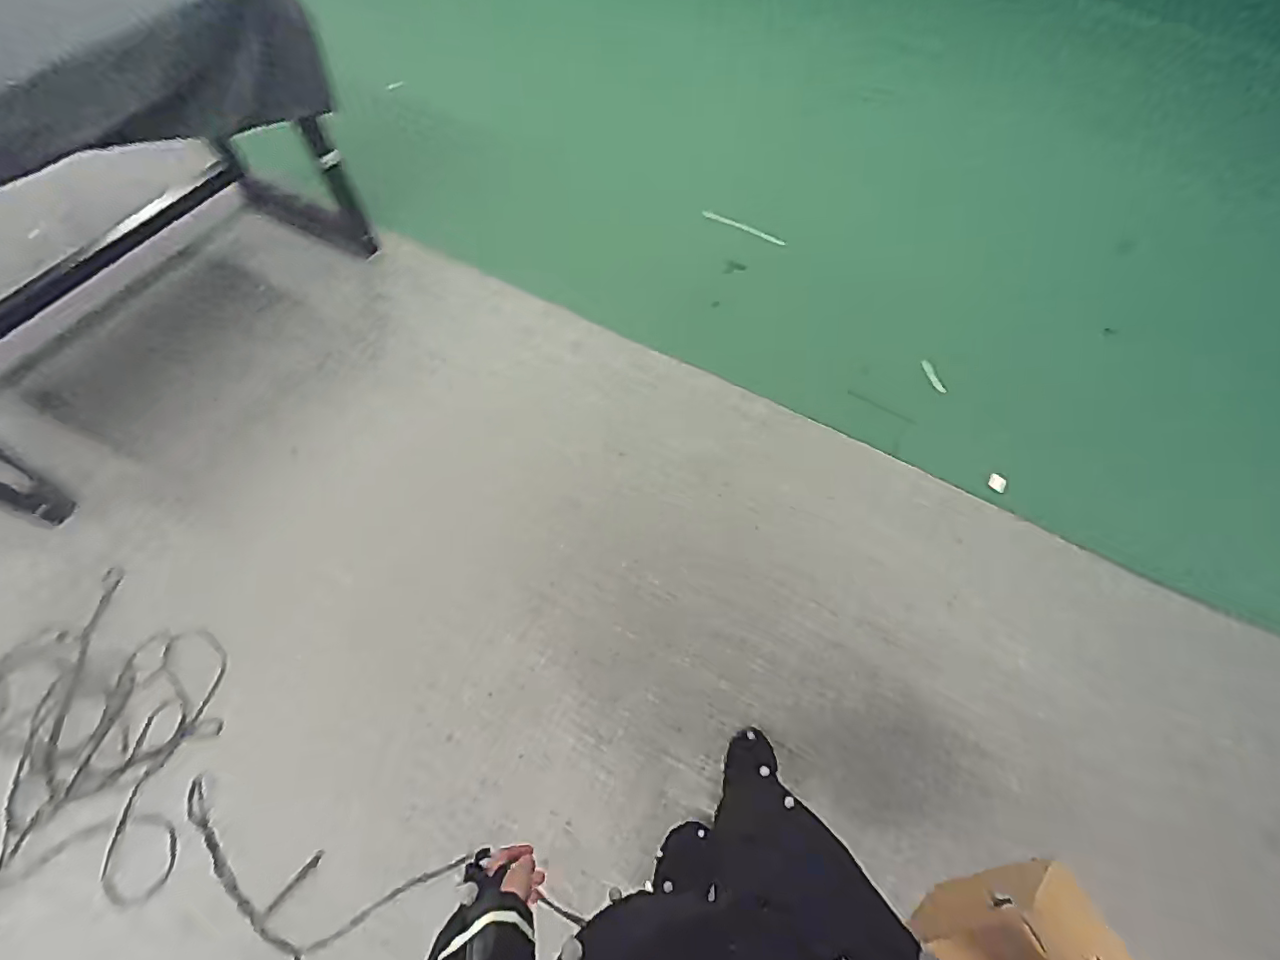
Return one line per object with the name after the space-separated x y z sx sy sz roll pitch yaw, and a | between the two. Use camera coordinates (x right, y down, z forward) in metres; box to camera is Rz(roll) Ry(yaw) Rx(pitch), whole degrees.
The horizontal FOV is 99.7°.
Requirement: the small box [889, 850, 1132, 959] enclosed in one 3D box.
0.397 0.525 0.561 0.179 0.176 0.168 6 47 -44 | small box
